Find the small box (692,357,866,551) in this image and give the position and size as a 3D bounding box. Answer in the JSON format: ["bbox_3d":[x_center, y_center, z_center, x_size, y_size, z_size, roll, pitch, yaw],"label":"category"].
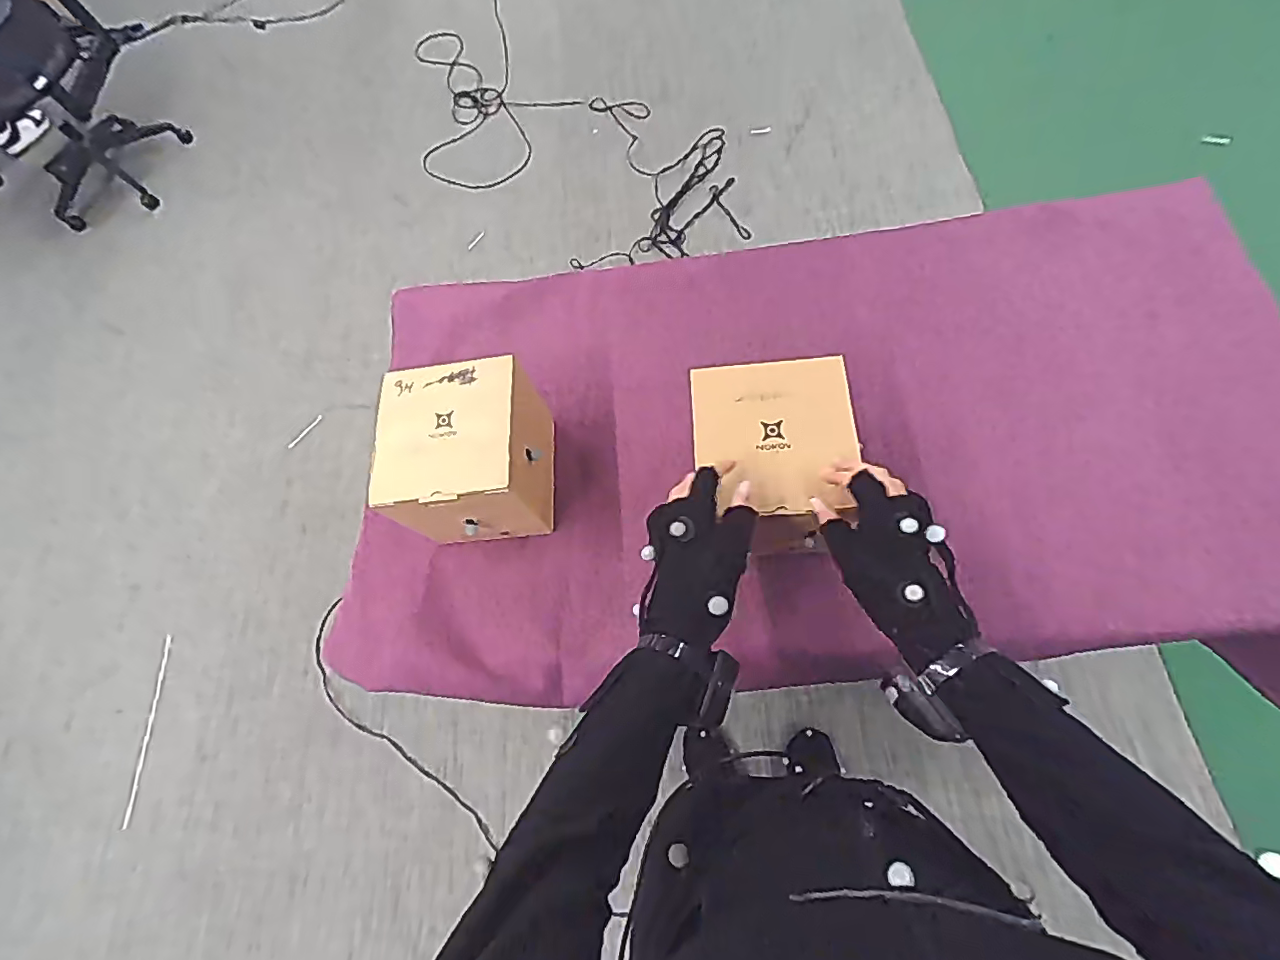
[{"bbox_3d":[0.150,-0.017,0.630,0.168,0.176,0.179,-3,68,8],"label":"small box"}]

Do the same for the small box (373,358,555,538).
[{"bbox_3d":[-0.210,-0.029,0.693,0.168,0.176,0.179,-6,68,6],"label":"small box"}]
